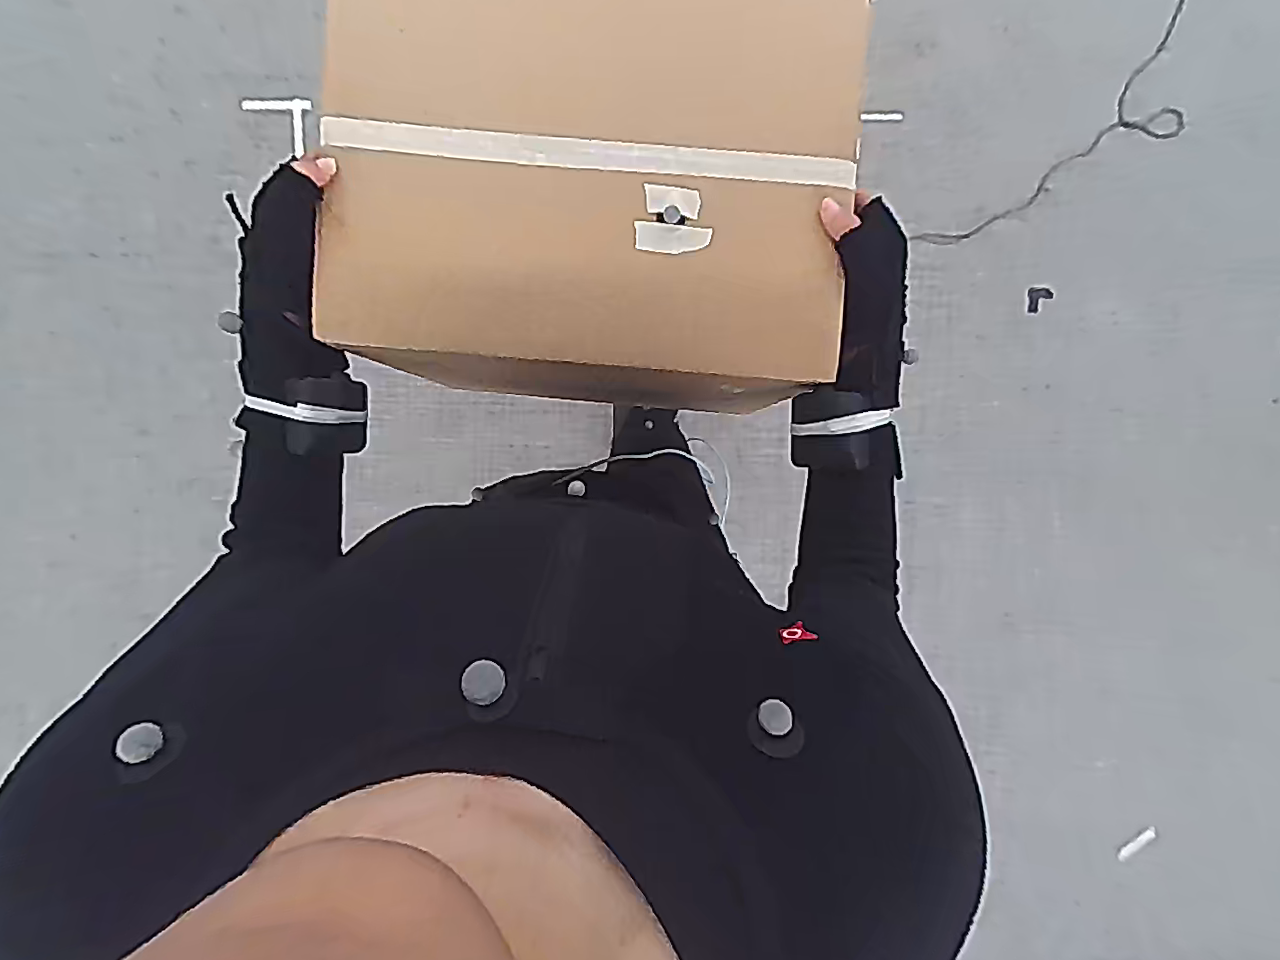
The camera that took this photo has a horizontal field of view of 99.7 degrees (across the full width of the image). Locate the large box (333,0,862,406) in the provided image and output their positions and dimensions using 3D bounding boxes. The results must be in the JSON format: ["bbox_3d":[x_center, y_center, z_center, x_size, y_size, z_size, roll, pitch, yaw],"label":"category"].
[{"bbox_3d":[-0.039,-0.256,0.570,0.408,0.320,0.320,4,94,-1],"label":"large box"}]
